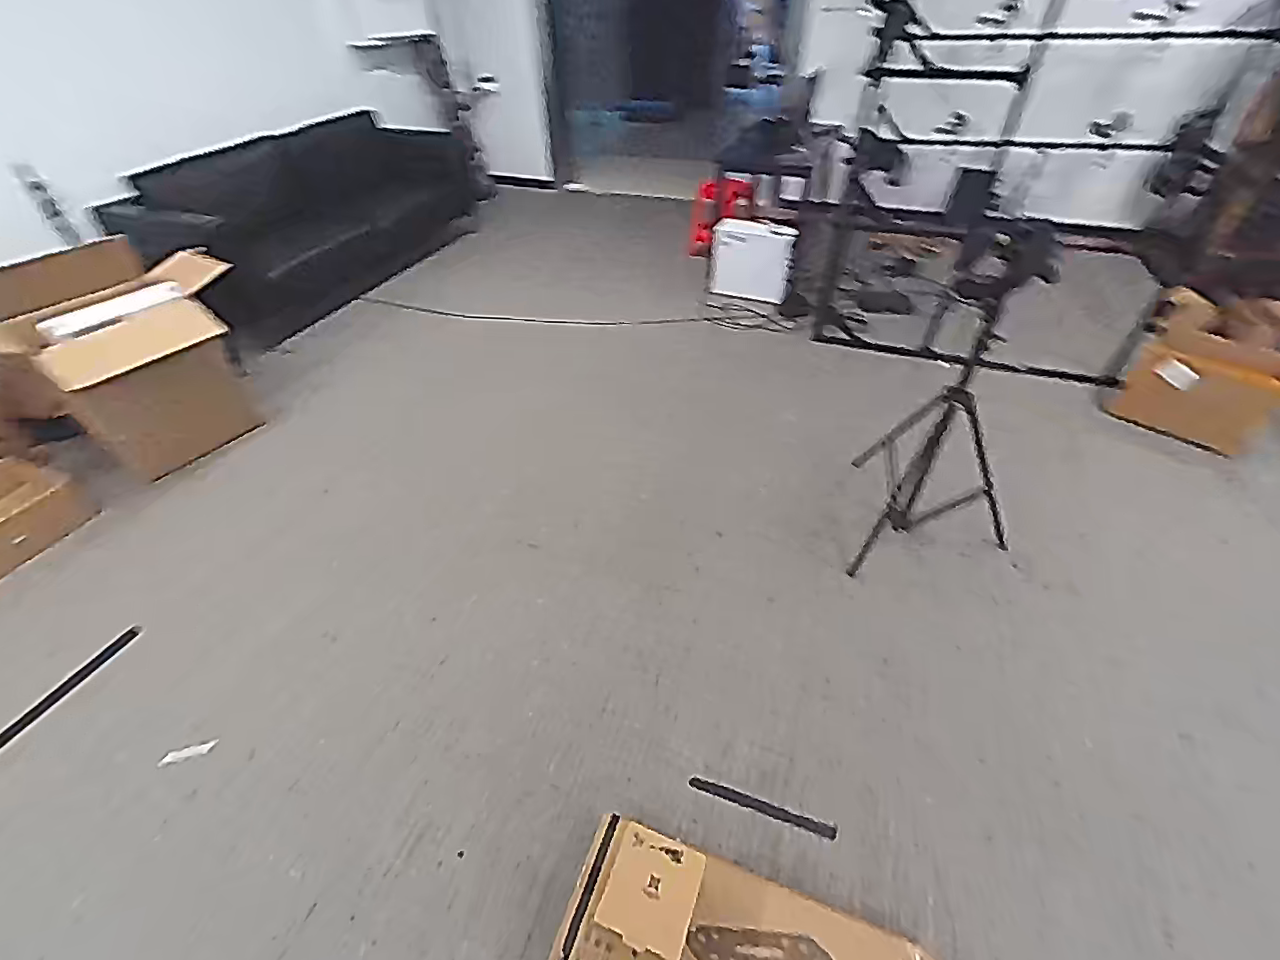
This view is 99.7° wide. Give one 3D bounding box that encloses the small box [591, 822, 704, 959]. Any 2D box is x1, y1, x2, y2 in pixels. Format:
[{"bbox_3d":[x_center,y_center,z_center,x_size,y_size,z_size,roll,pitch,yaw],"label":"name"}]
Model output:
[{"bbox_3d":[0.021,0.820,1.062,0.168,0.176,0.179,15,46,16],"label":"small box"}]
